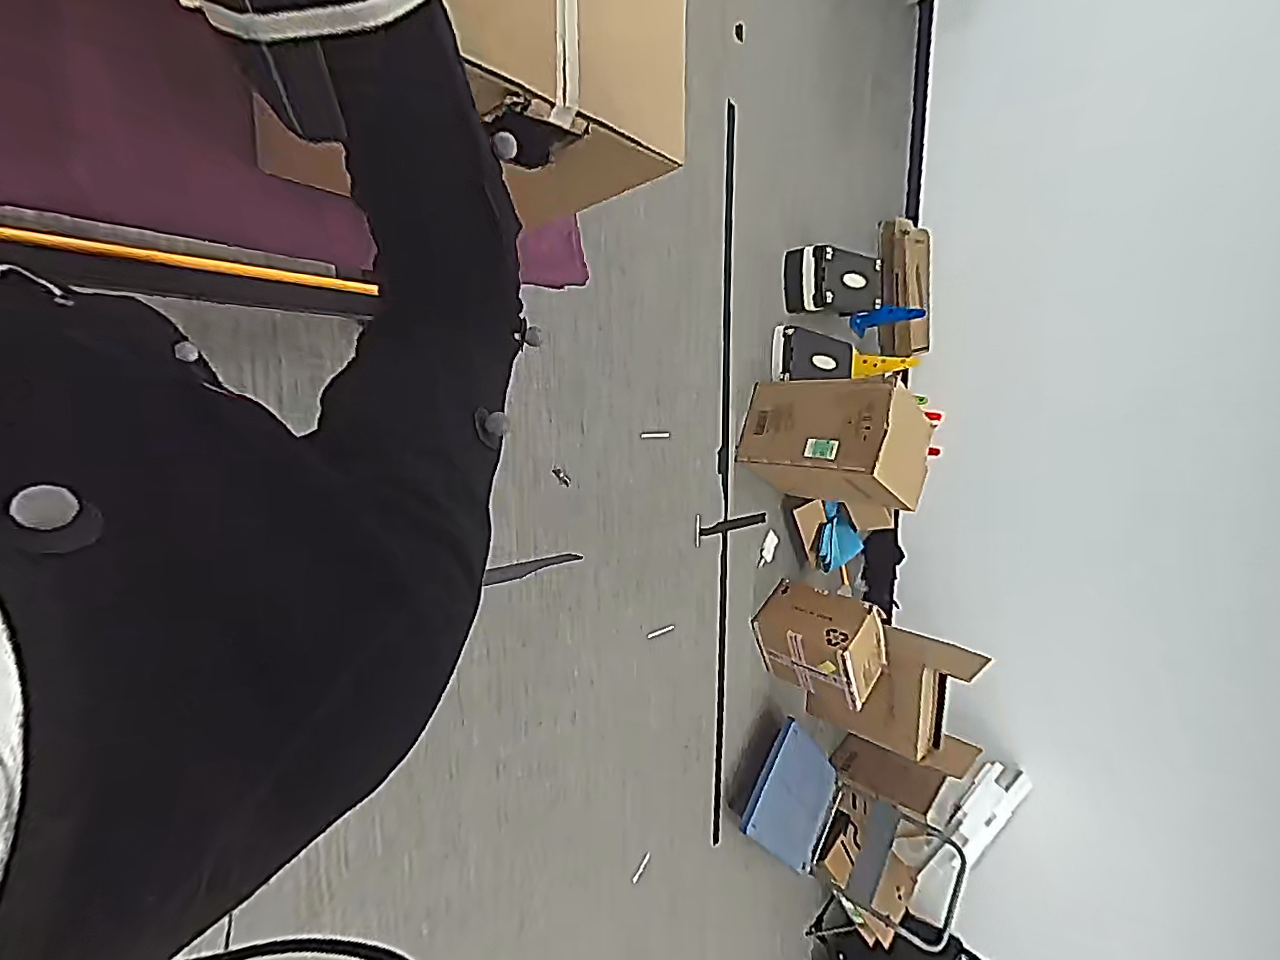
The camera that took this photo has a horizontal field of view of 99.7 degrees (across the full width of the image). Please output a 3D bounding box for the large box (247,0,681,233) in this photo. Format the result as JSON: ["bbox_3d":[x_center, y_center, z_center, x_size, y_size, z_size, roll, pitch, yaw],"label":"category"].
[{"bbox_3d":[-0.177,-0.510,0.526,0.320,0.320,0.408,-8,100,-46],"label":"large box"}]
